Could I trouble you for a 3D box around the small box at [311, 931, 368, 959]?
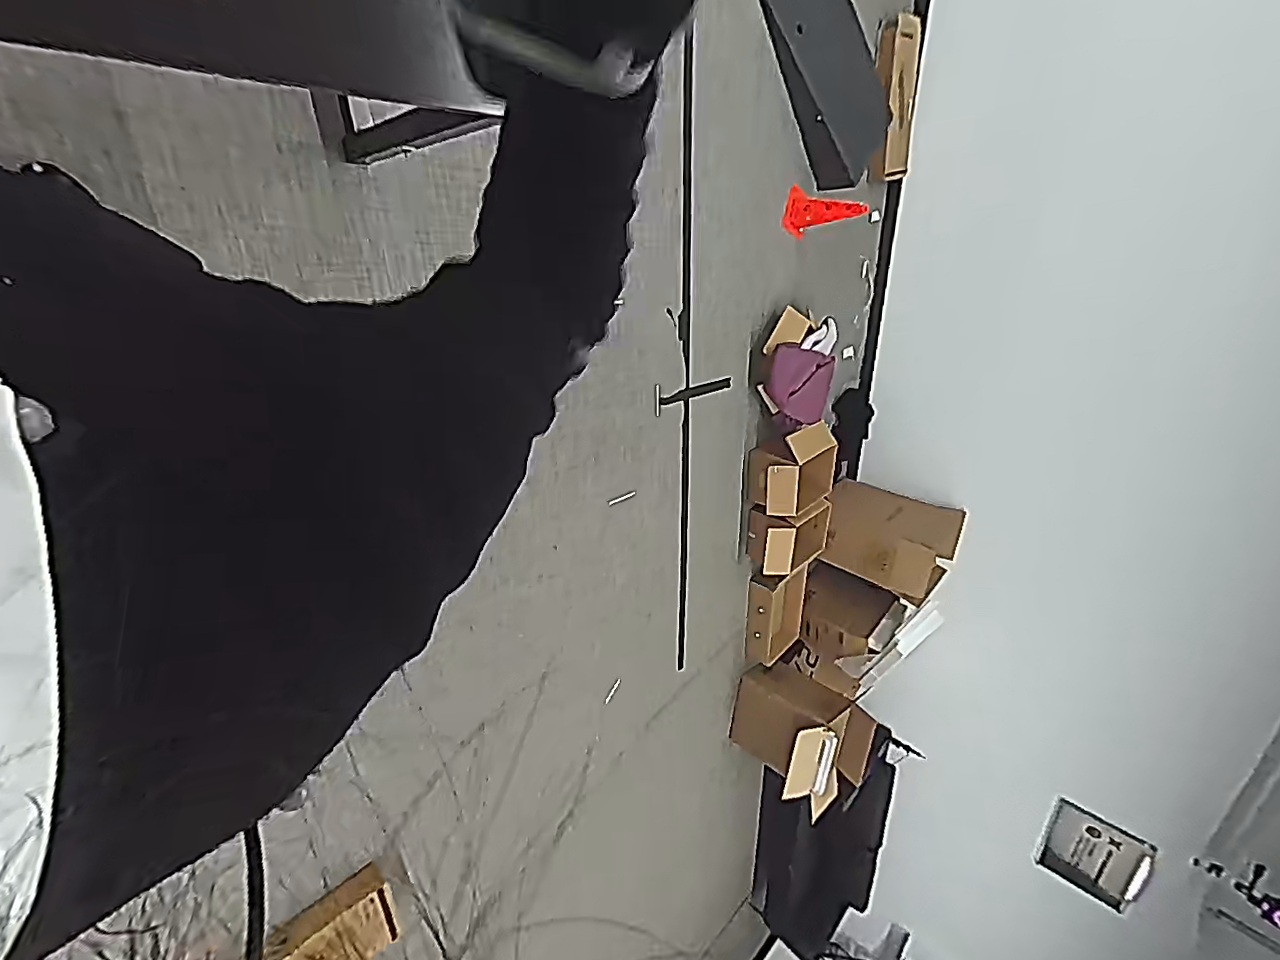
[{"bbox_3d":[-0.934,1.569,1.683,0.168,0.176,0.179,-25,123,-39],"label":"small box"}]
